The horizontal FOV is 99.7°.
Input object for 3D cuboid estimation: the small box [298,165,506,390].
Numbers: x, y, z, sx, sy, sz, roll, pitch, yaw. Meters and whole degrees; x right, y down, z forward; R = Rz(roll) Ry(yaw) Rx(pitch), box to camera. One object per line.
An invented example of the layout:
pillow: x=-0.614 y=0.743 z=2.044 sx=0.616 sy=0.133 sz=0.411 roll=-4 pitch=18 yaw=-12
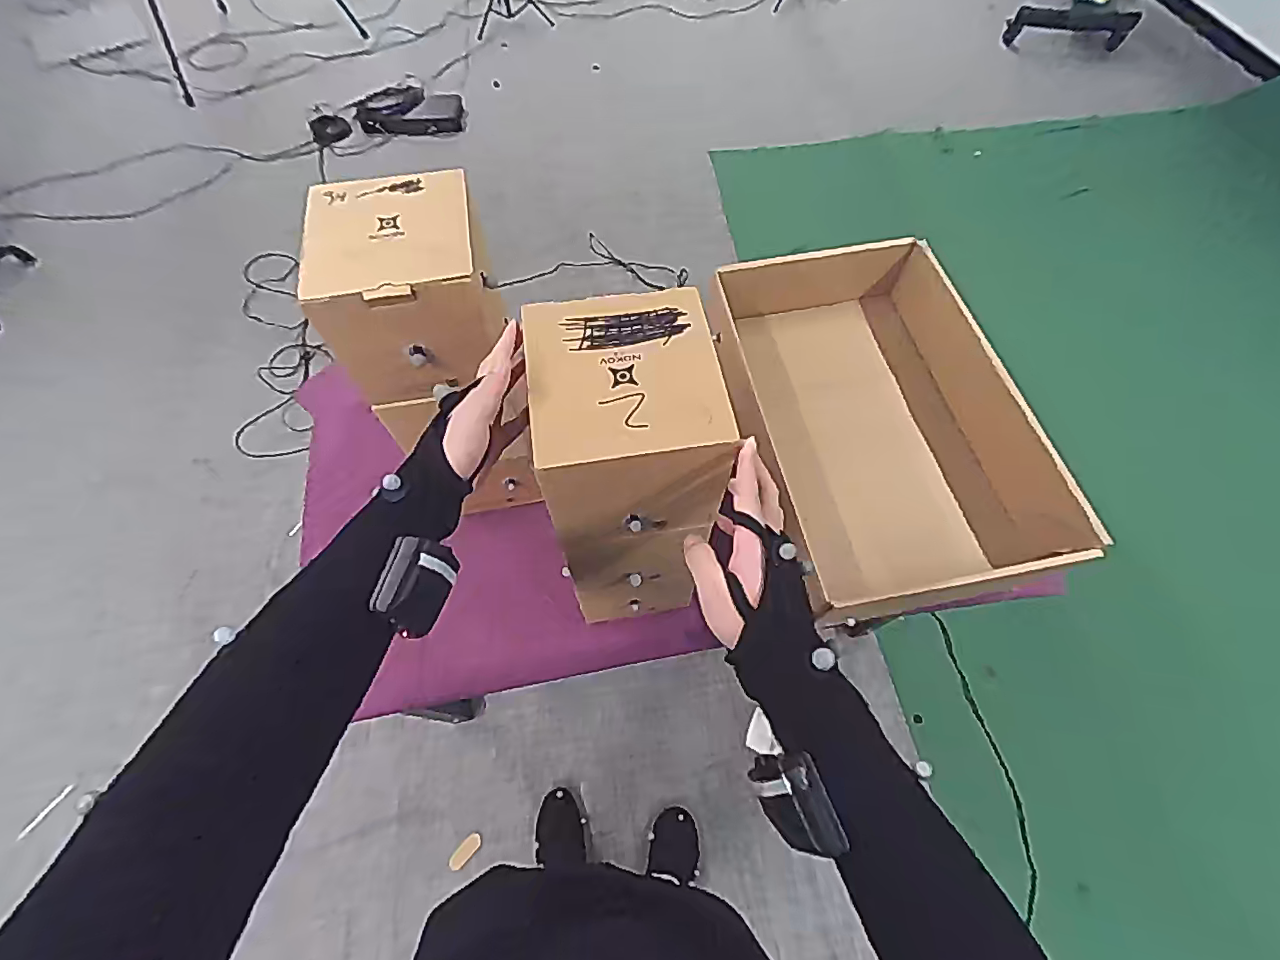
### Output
small box: x=-0.256 y=-0.219 z=0.619 sx=0.168 sy=0.176 sz=0.179 roll=-10 pitch=64 yaw=-6

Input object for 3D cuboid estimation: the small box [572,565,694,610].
small box: x=-0.018 y=0.091 z=0.823 sx=0.168 sy=0.176 sz=0.179 roll=-8 pitch=63 yaw=-5

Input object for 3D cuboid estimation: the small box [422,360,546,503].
small box: x=-0.257 y=-0.073 z=0.910 sx=0.168 sy=0.176 sz=0.179 roll=-9 pitch=64 yaw=-5

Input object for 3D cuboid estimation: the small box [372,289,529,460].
small box: x=-0.257 y=-0.141 z=0.763 sx=0.168 sy=0.176 sz=0.179 roll=-9 pitch=63 yaw=-5

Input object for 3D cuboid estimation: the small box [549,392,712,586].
small box: x=-0.017 y=0.016 z=0.678 sx=0.168 sy=0.176 sz=0.179 roll=-9 pitch=63 yaw=-4
